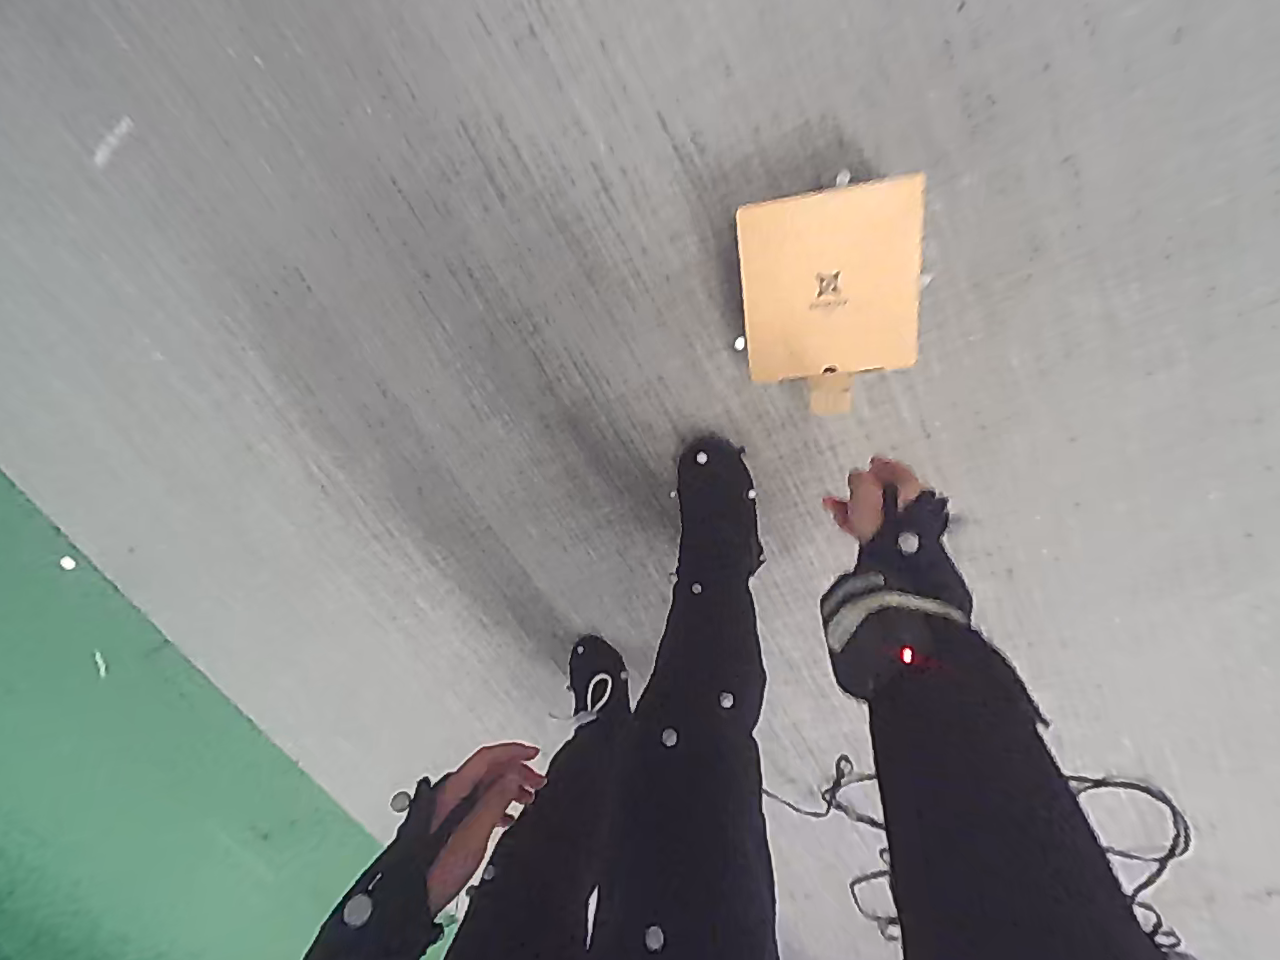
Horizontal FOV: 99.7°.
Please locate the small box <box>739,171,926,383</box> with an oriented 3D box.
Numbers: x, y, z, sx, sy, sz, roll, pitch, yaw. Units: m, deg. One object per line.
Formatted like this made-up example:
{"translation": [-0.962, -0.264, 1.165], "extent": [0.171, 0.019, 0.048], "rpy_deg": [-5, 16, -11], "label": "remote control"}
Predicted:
{"translation": [0.199, -0.220, 0.591], "extent": [0.168, 0.176, 0.179], "rpy_deg": [-4, 116, 15], "label": "small box"}
